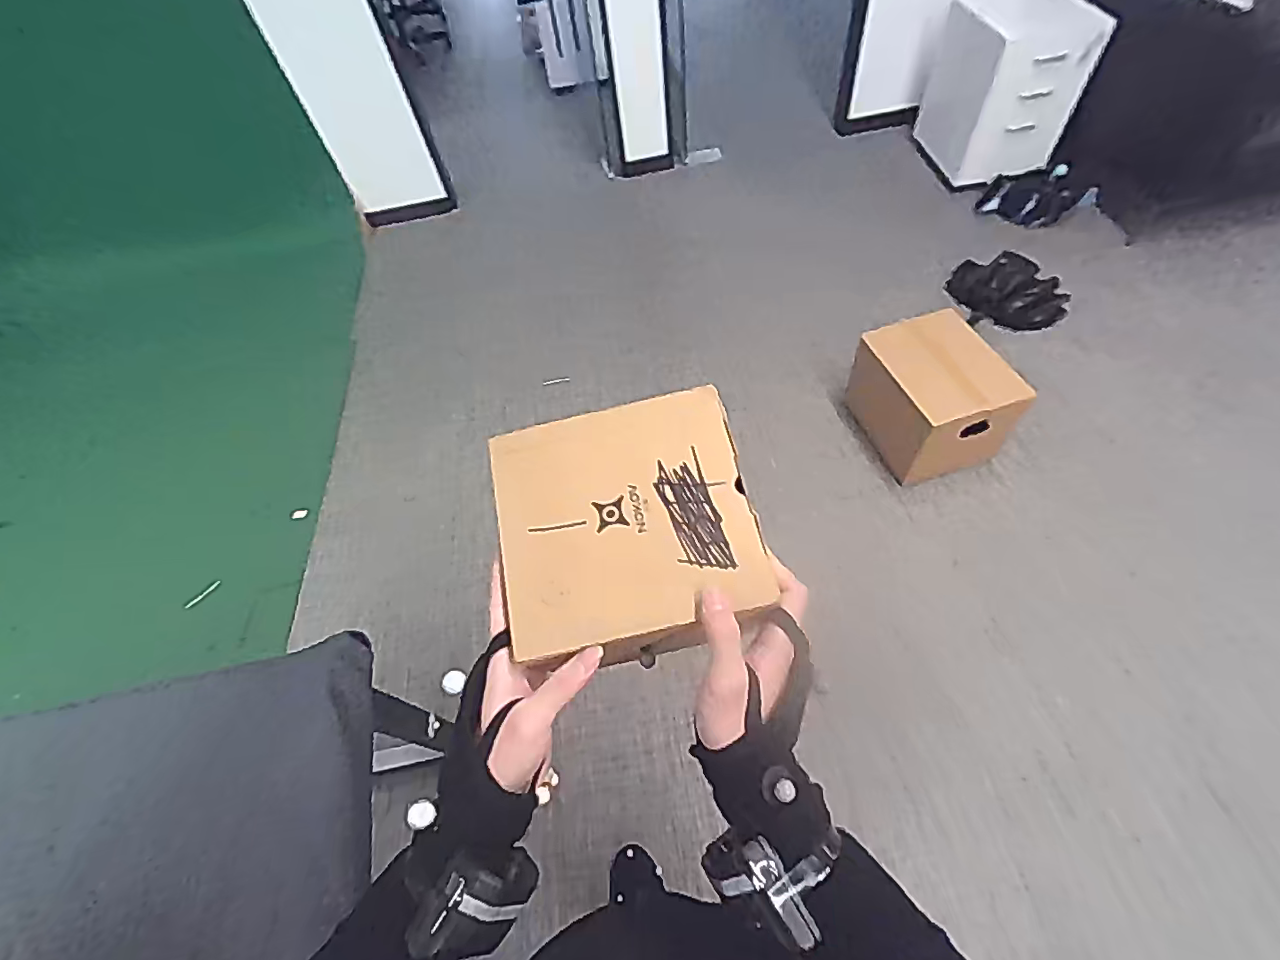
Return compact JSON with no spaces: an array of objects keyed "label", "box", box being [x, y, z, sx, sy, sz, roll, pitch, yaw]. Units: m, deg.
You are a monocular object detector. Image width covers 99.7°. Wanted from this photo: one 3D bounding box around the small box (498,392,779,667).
[{"label":"small box","box":[-0.002,0.053,0.449,0.179,0.176,0.168,-12,67,1]}]
